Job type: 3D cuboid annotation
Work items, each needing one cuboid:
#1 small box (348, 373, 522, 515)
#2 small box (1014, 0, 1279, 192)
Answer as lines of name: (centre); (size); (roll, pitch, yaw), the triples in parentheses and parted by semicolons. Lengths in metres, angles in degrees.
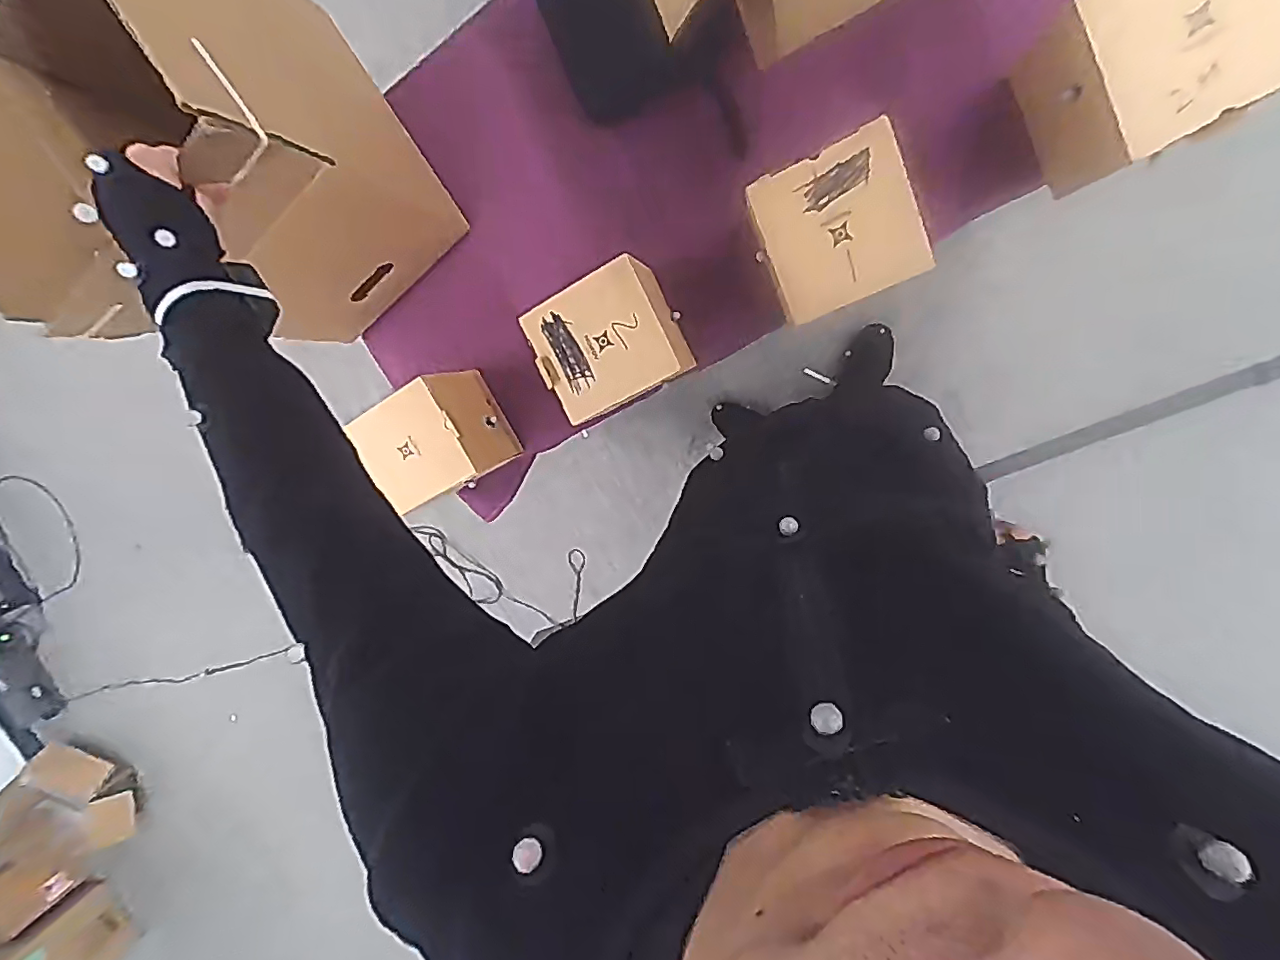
small box: (-0.332, -0.066, 0.905); (0.179, 0.176, 0.168); (-27, 97, 17)
small box: (0.550, -0.453, 0.590); (0.168, 0.176, 0.179); (-24, 98, 19)
